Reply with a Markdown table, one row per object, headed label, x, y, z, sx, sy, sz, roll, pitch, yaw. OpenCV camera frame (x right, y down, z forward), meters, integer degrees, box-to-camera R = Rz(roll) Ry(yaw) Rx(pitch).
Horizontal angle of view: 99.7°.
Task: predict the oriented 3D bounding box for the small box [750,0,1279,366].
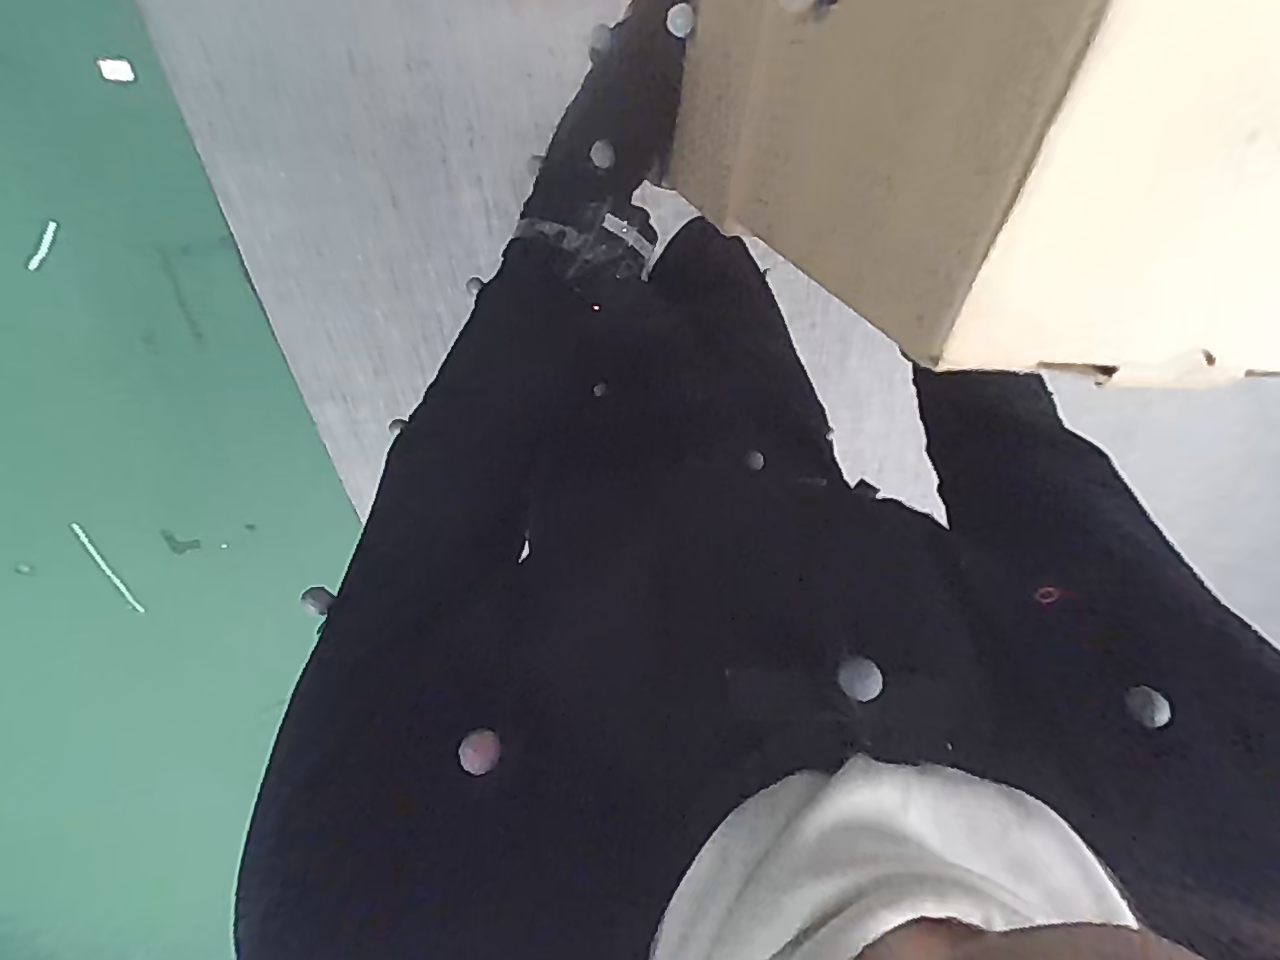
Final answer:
| label | x | y | z | sx | sy | sz | roll | pitch | yaw |
| --- | --- | --- | --- | --- | --- | --- | --- | --- | --- |
| small box | 0.148 | -0.155 | 0.173 | 0.168 | 0.176 | 0.179 | 0 | 128 | -11 |

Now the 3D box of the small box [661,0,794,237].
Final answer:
| label | x | y | z | sx | sy | sz | roll | pitch | yaw |
| --- | --- | --- | --- | --- | --- | --- | --- | --- | --- |
| small box | 0.120 | -0.245 | 0.307 | 0.179 | 0.176 | 0.168 | -4 | 129 | -10 |
